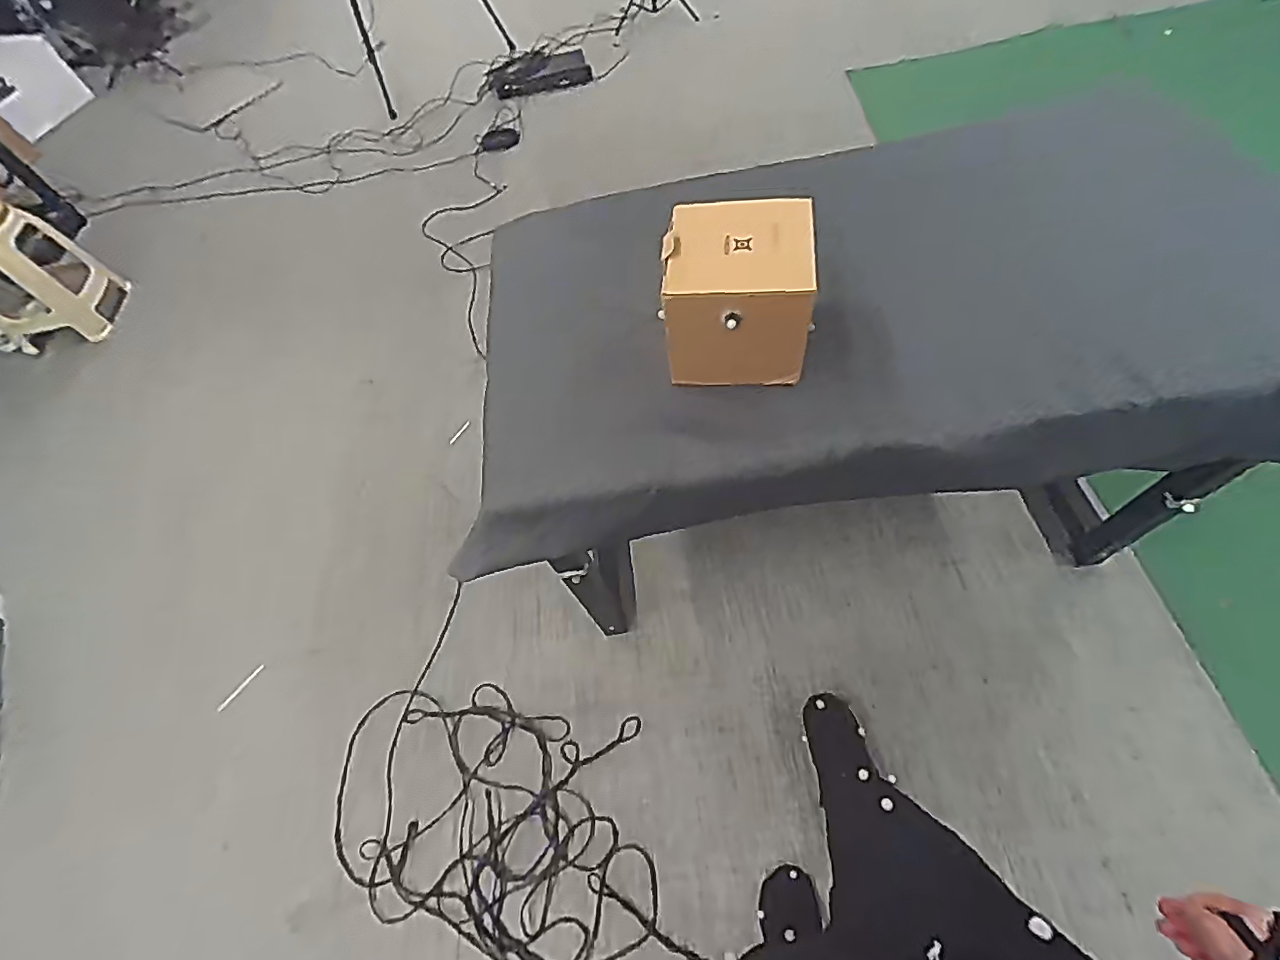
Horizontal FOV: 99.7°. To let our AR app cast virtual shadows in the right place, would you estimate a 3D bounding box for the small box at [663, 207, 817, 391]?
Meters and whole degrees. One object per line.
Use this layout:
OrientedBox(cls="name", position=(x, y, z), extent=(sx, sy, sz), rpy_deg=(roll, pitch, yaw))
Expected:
OrientedBox(cls="small box", position=(0.132, -0.234, 0.720), extent=(0.179, 0.176, 0.168), rpy_deg=(2, 61, 9))
